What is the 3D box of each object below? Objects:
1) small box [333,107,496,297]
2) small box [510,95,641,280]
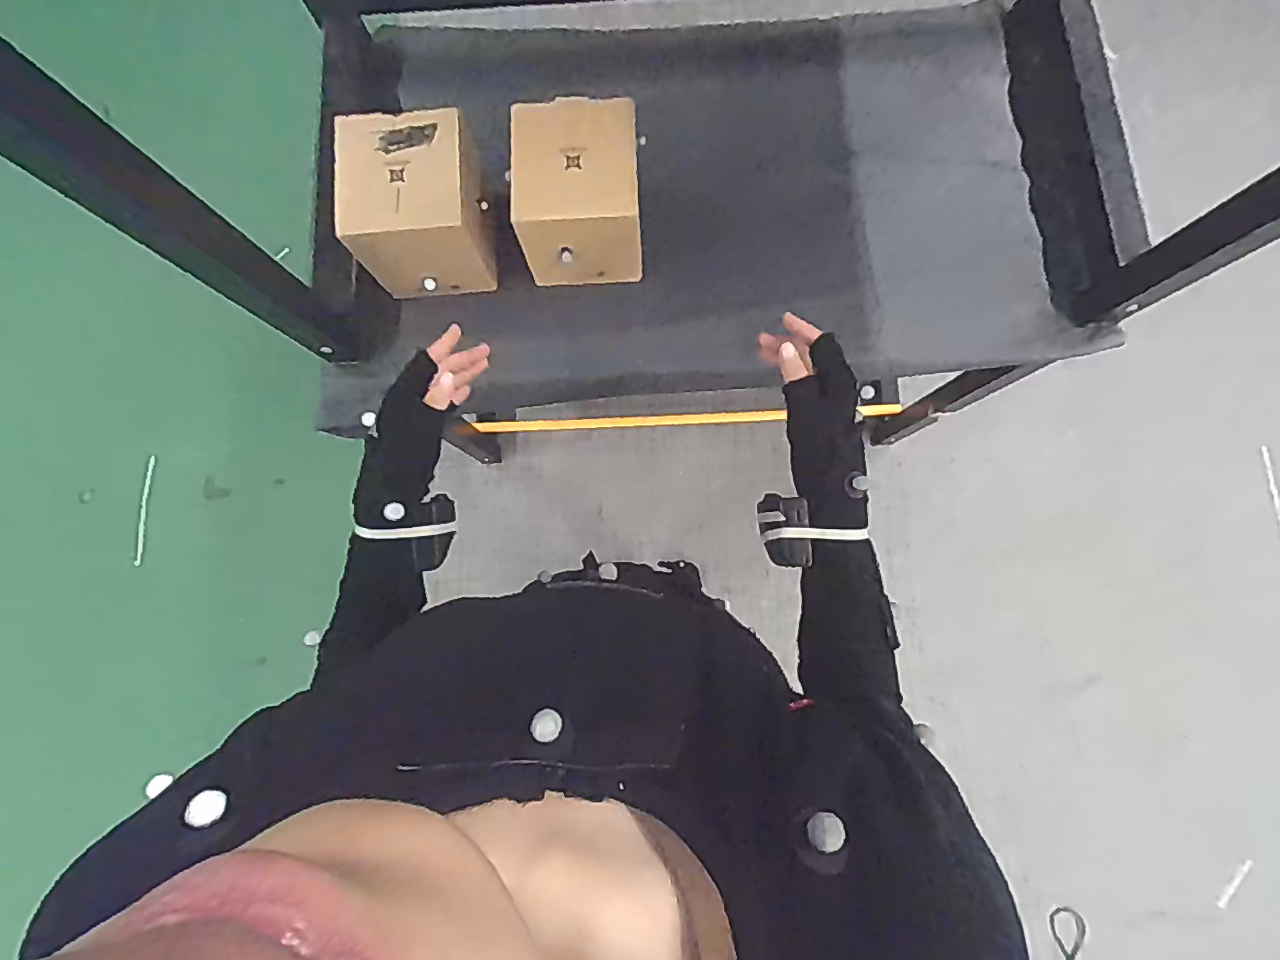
[{"bbox_3d":[-0.311,-0.388,0.776,0.168,0.176,0.179,-5,81,0],"label":"small box"},{"bbox_3d":[-0.085,-0.404,0.776,0.168,0.176,0.179,-3,80,1],"label":"small box"}]
